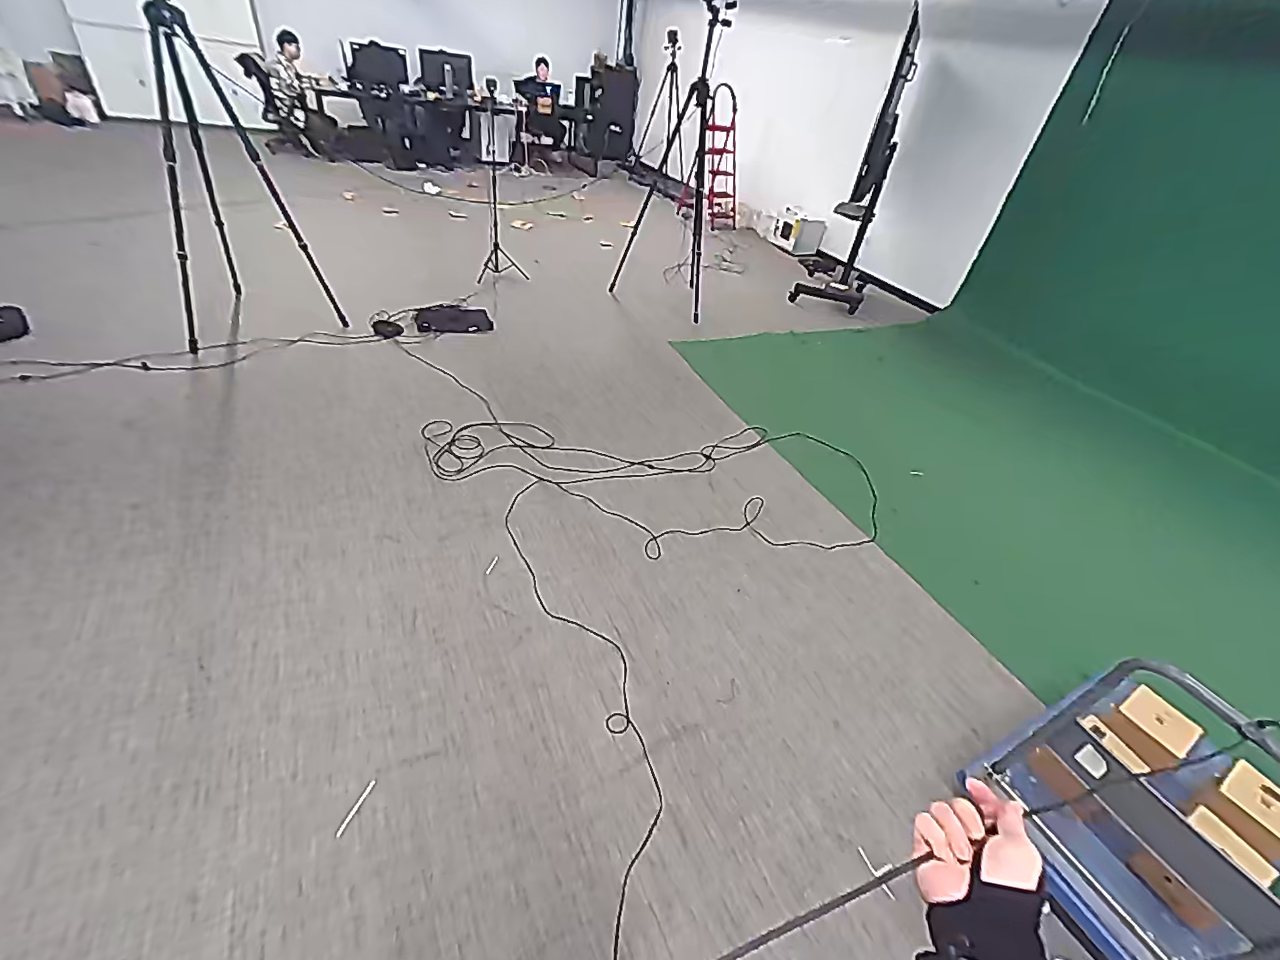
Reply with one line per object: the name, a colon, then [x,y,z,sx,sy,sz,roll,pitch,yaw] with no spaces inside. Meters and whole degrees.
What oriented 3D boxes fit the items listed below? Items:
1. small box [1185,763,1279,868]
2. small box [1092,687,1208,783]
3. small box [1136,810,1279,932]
small box: [1.628,0.903,1.443,0.179,0.176,0.168,-17,44,-27]
small box: [1.497,0.757,1.600,0.179,0.176,0.168,-16,45,-28]
small box: [1.390,0.958,1.328,0.179,0.176,0.168,-13,43,-24]
